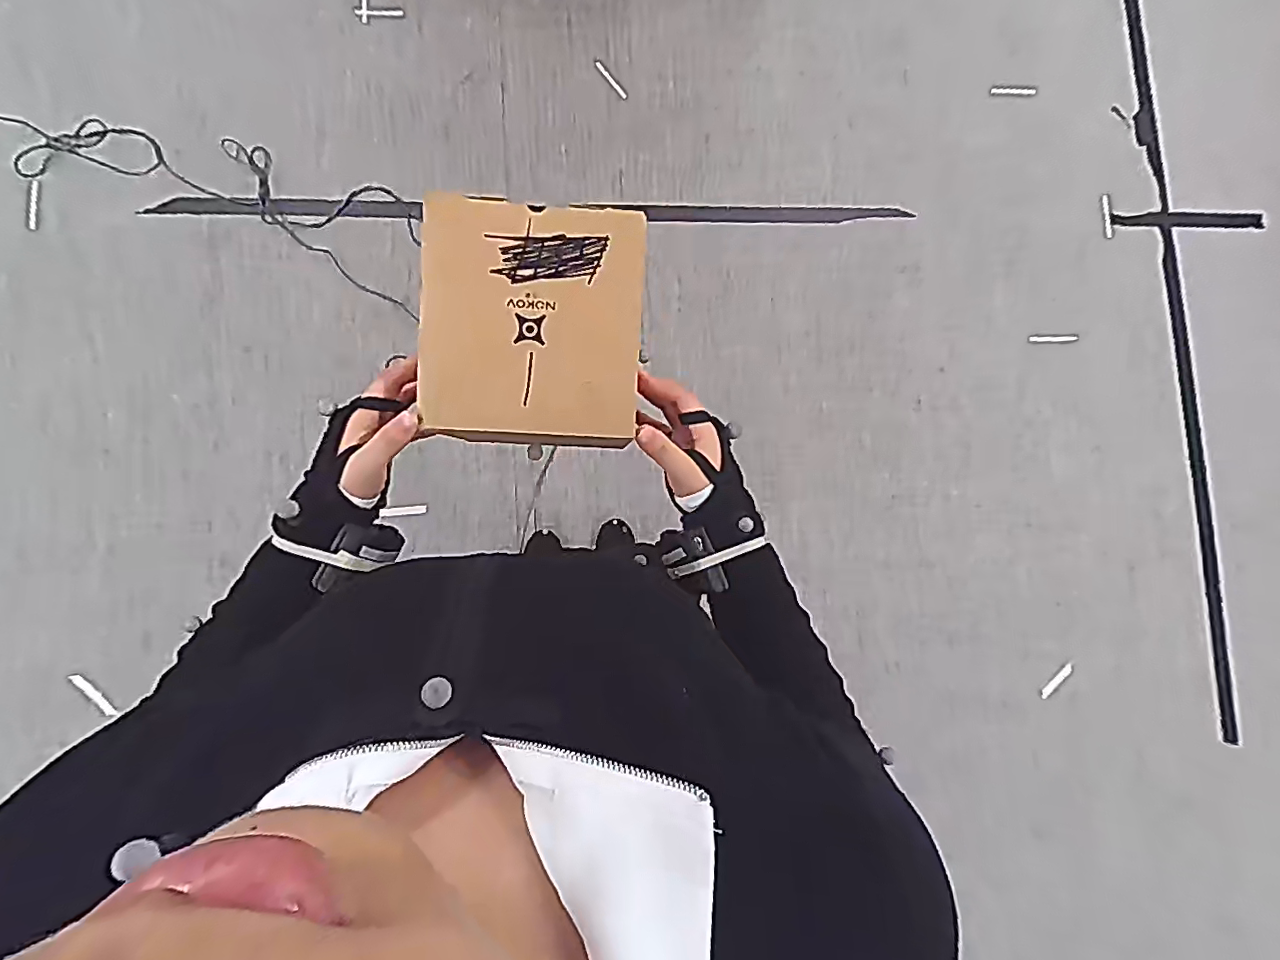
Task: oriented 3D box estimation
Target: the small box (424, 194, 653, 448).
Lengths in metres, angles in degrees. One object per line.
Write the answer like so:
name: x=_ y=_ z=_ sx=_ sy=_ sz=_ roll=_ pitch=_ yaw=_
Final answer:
small box: x=-0.082 y=-0.124 z=0.488 sx=0.168 sy=0.176 sz=0.179 roll=2 pitch=91 yaw=-4
